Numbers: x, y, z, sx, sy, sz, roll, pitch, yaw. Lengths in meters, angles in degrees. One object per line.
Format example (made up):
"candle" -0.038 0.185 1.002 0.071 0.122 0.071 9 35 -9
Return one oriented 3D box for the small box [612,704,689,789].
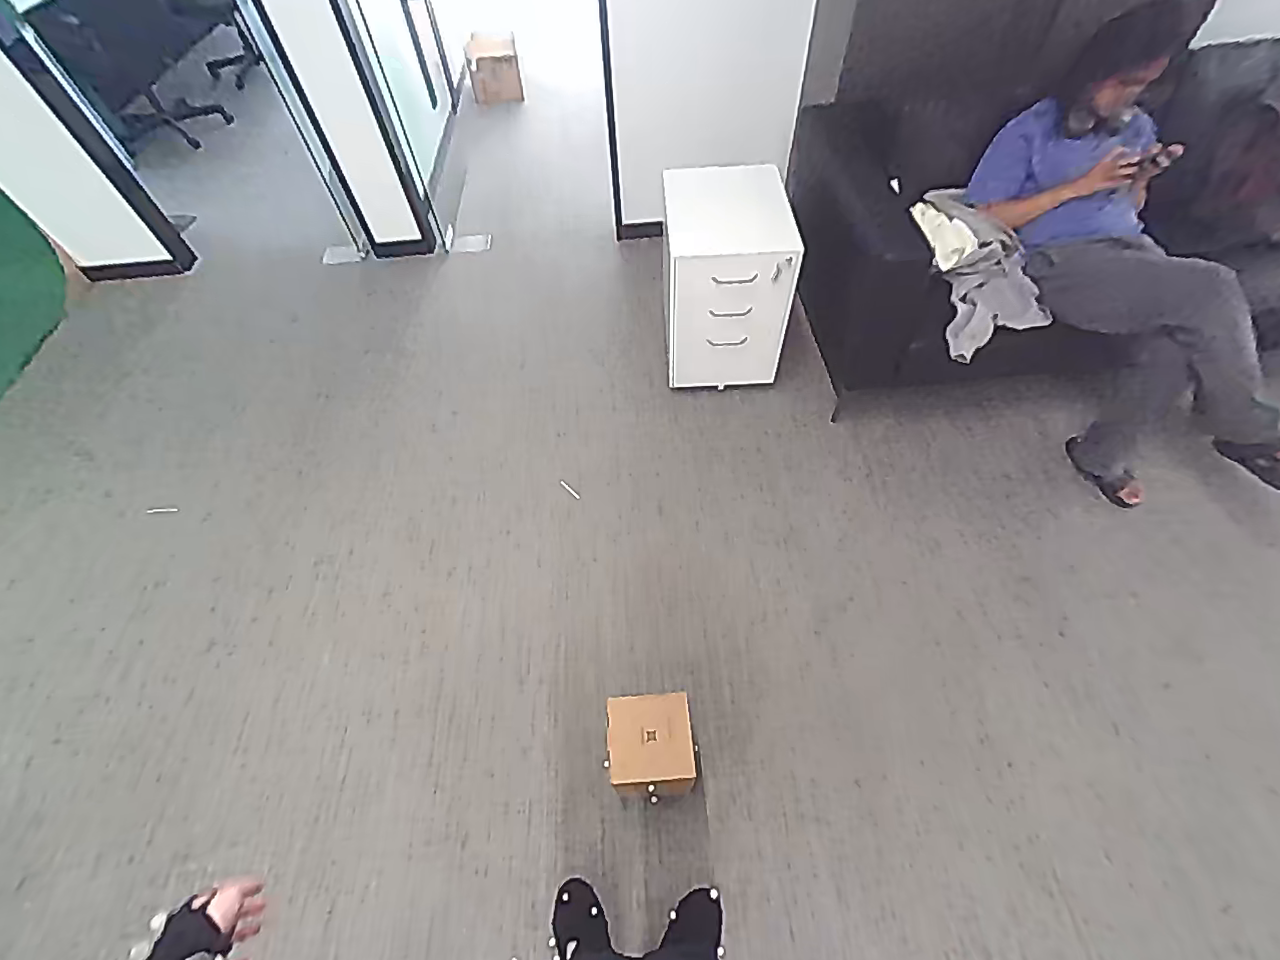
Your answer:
"small box" 0.021 0.655 1.327 0.179 0.176 0.168 -3 55 -1
